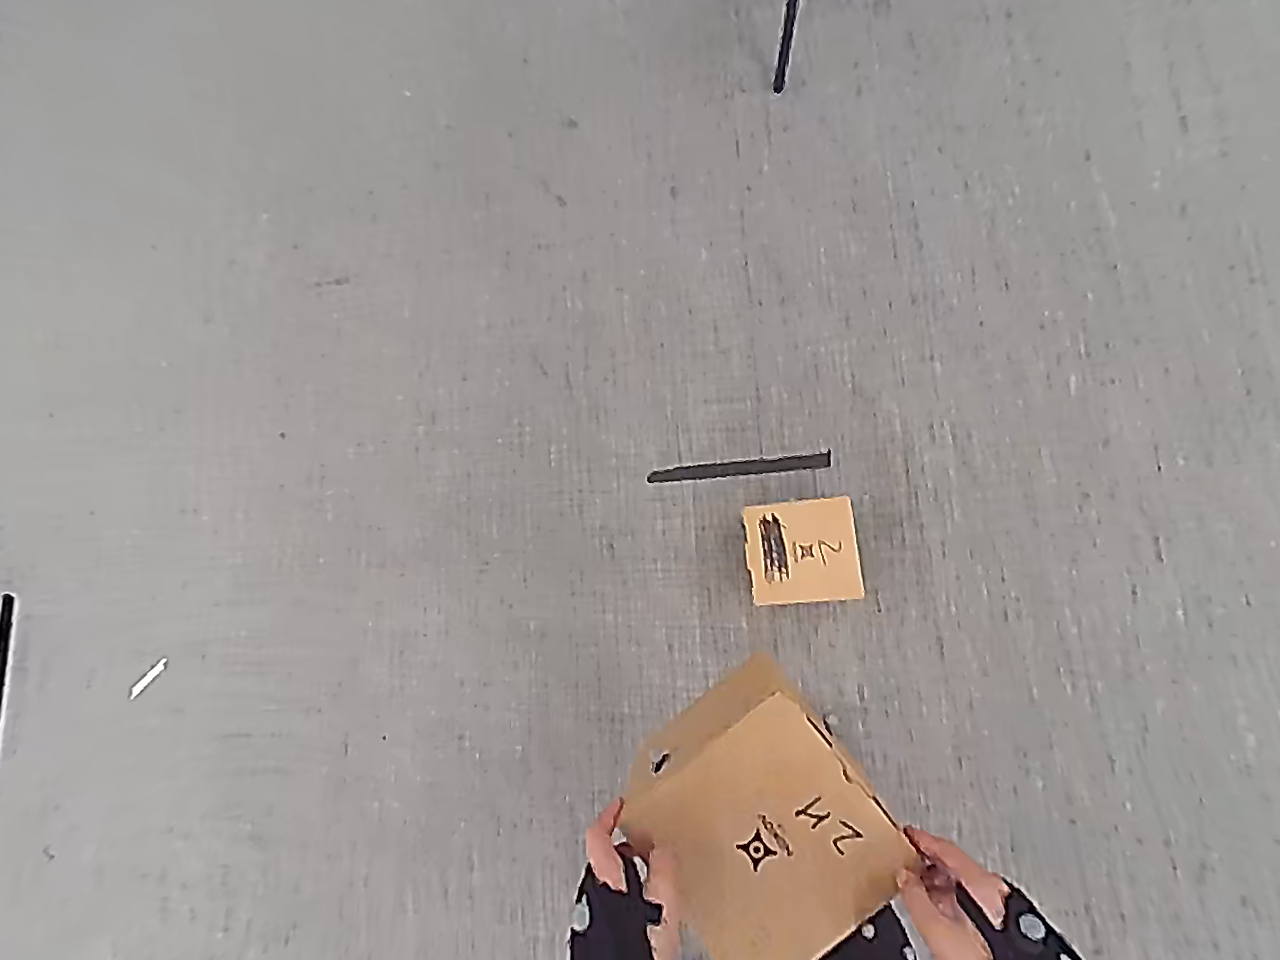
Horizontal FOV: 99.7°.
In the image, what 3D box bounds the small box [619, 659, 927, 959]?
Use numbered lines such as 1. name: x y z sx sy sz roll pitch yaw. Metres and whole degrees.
1. small box: 0.108 0.293 0.490 0.179 0.176 0.168 -39 81 1
